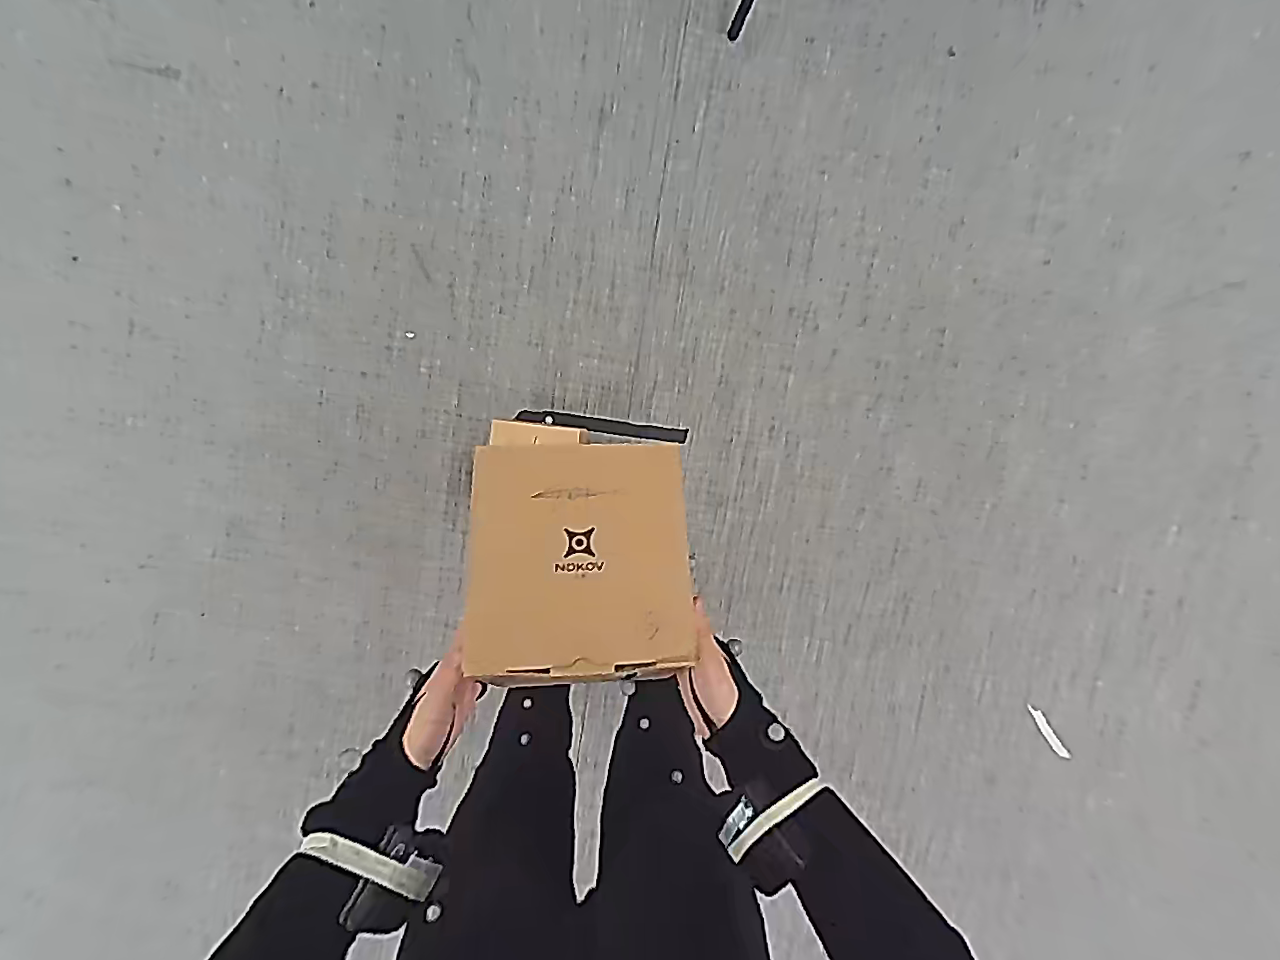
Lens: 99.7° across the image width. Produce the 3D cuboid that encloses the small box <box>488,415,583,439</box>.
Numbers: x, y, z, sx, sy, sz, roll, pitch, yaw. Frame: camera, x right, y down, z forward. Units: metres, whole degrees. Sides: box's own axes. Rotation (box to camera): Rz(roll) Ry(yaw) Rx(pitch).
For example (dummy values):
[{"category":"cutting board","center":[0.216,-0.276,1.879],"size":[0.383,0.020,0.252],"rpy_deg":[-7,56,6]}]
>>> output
[{"category":"small box","center":[-0.207,-0.033,1.083],"size":[0.168,0.176,0.179],"rpy_deg":[6,95,-3]}]

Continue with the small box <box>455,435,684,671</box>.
[{"category":"small box","center":[-0.058,0.075,0.485],"size":[0.168,0.176,0.179],"rpy_deg":[-2,67,-6]}]
